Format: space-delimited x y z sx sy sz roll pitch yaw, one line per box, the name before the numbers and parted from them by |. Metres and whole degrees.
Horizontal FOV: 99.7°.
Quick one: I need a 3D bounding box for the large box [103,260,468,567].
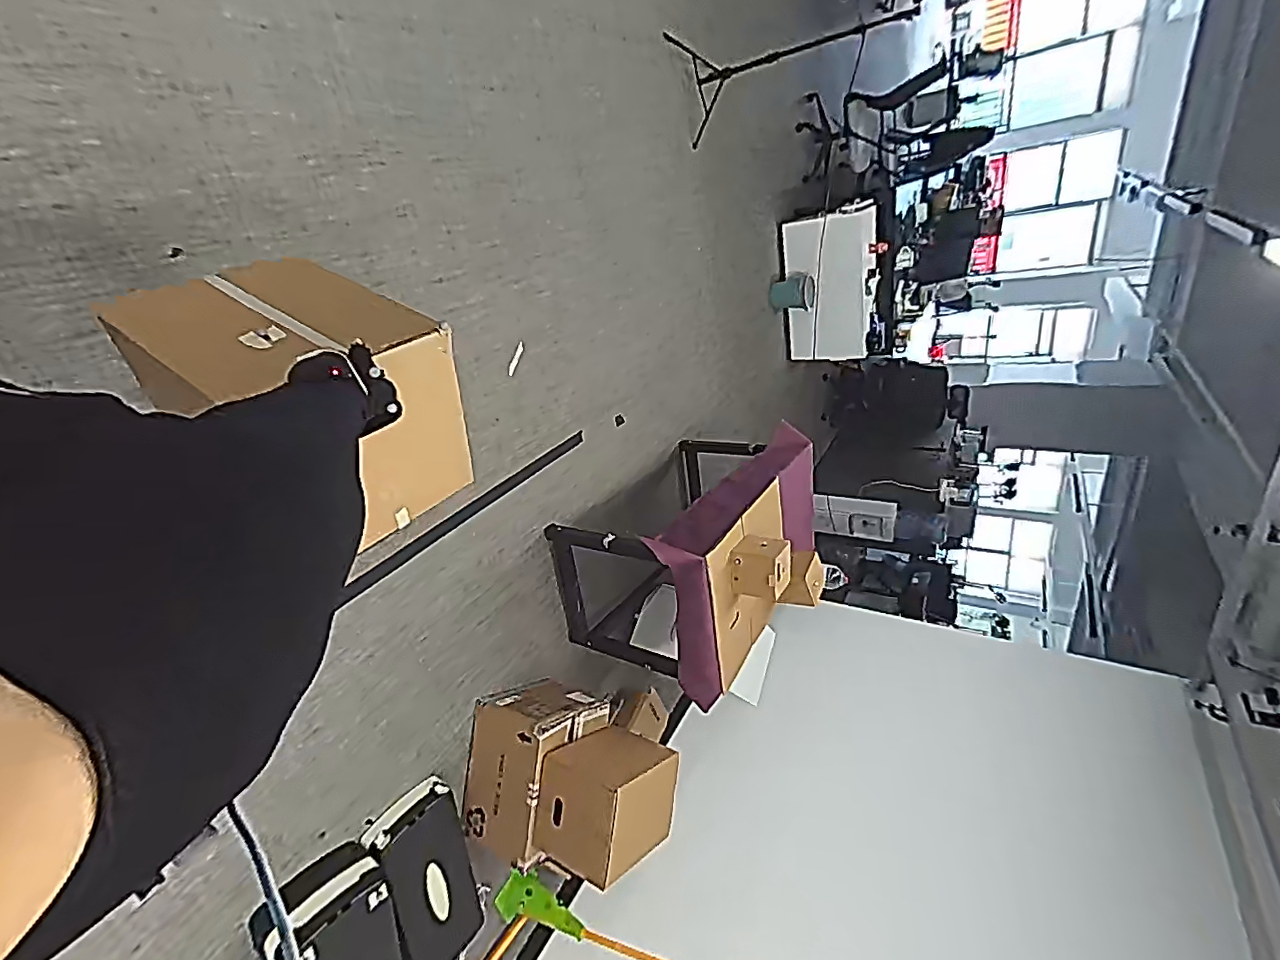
large box | -0.556 -0.130 0.912 0.320 0.408 0.320 -41 150 -39
